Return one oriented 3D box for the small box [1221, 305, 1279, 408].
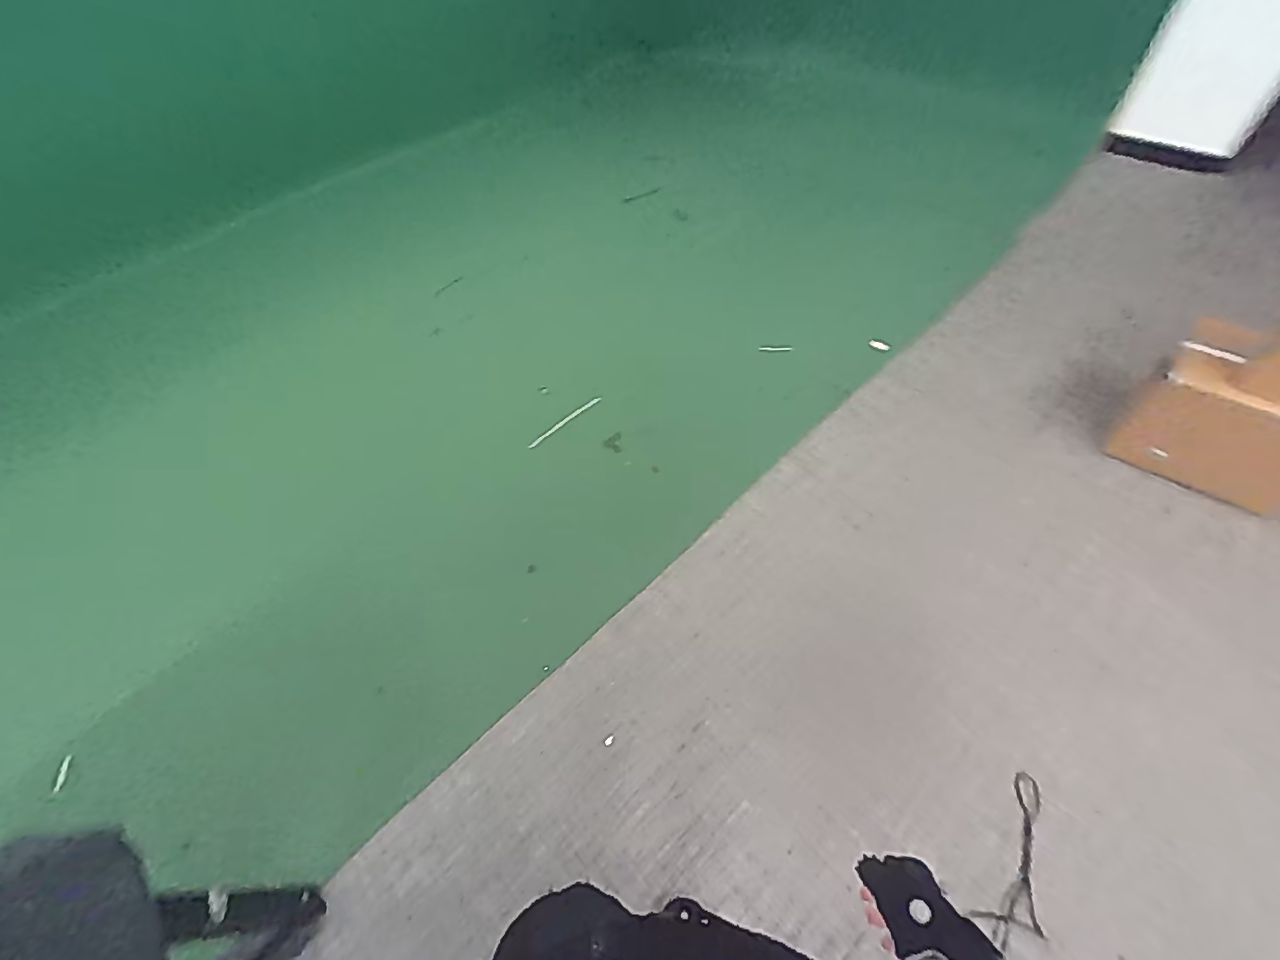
[{"bbox_3d":[1.566,-0.292,1.291,0.179,0.176,0.168,34,66,25],"label":"small box"}]
